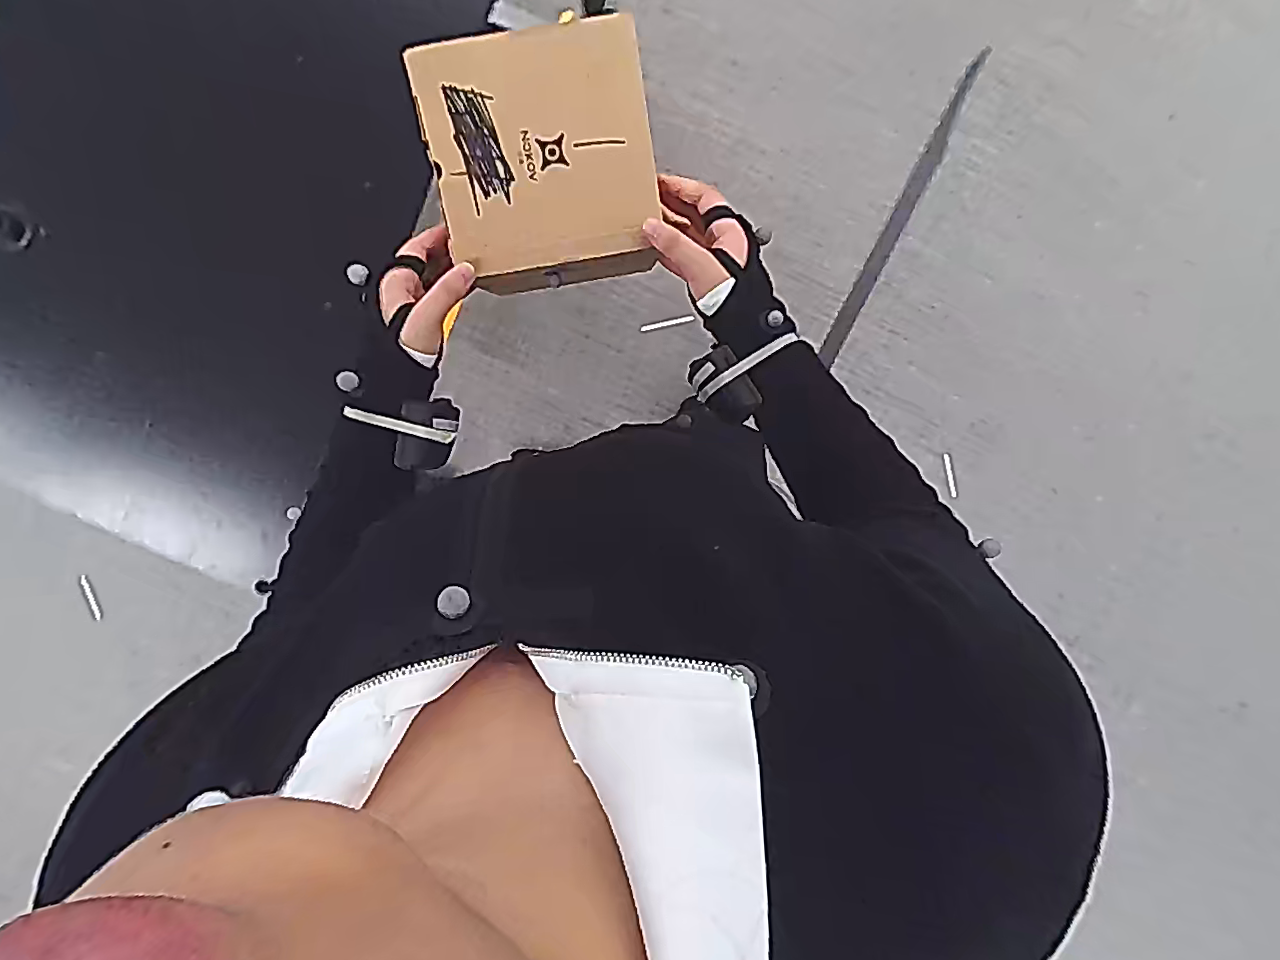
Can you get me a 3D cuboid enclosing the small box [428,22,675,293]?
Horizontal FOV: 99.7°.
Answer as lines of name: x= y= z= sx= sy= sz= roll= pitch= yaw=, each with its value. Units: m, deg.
small box: x=-0.069 y=-0.278 z=0.508 sx=0.179 sy=0.176 sz=0.168 roll=-9 pitch=105 yaw=-1
